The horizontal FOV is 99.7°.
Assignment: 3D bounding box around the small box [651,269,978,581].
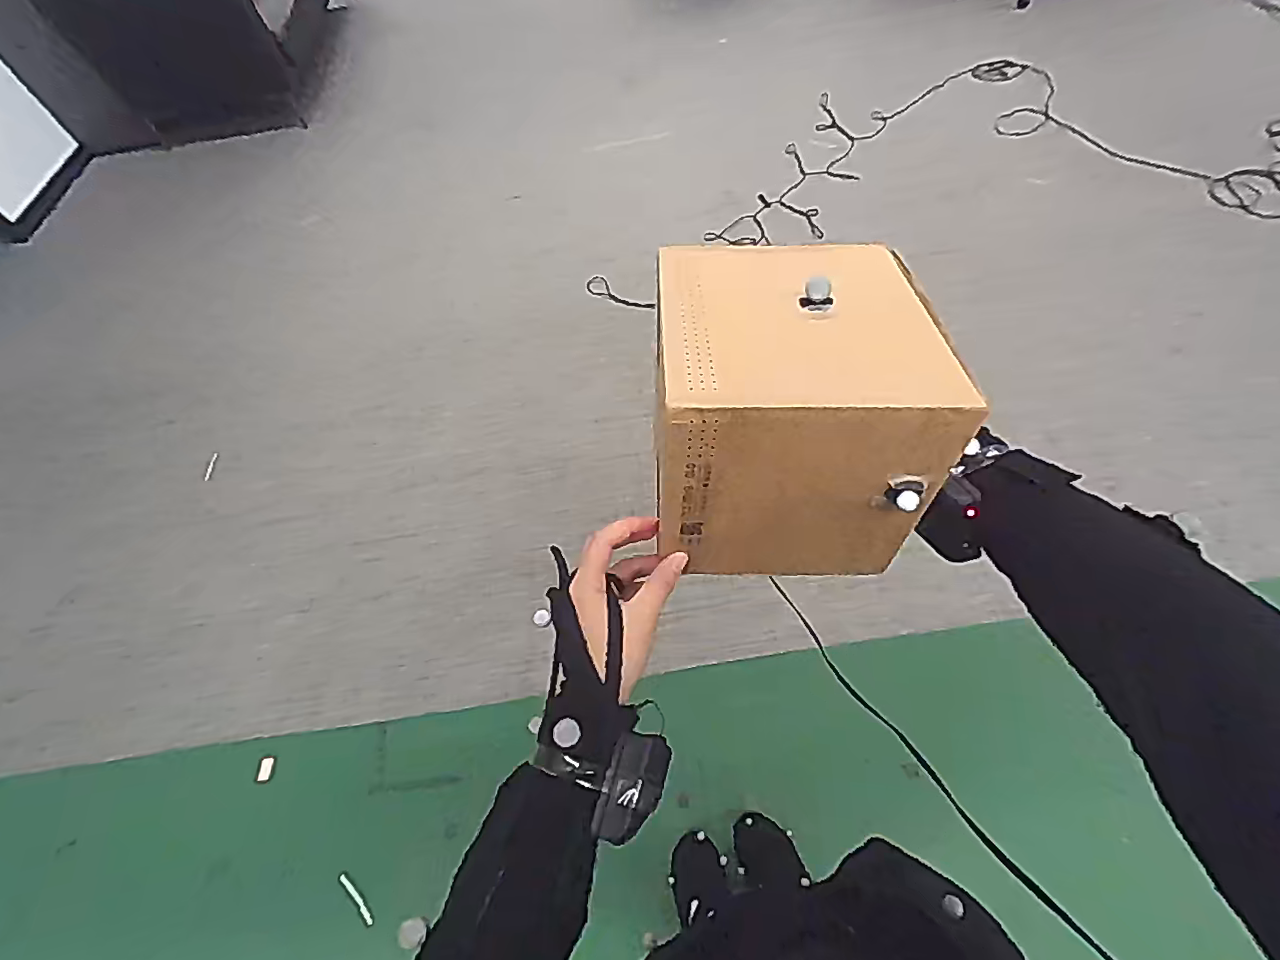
[{"bbox_3d":[0.096,-0.042,0.400,0.176,0.168,0.179,0,48,0],"label":"small box"}]
